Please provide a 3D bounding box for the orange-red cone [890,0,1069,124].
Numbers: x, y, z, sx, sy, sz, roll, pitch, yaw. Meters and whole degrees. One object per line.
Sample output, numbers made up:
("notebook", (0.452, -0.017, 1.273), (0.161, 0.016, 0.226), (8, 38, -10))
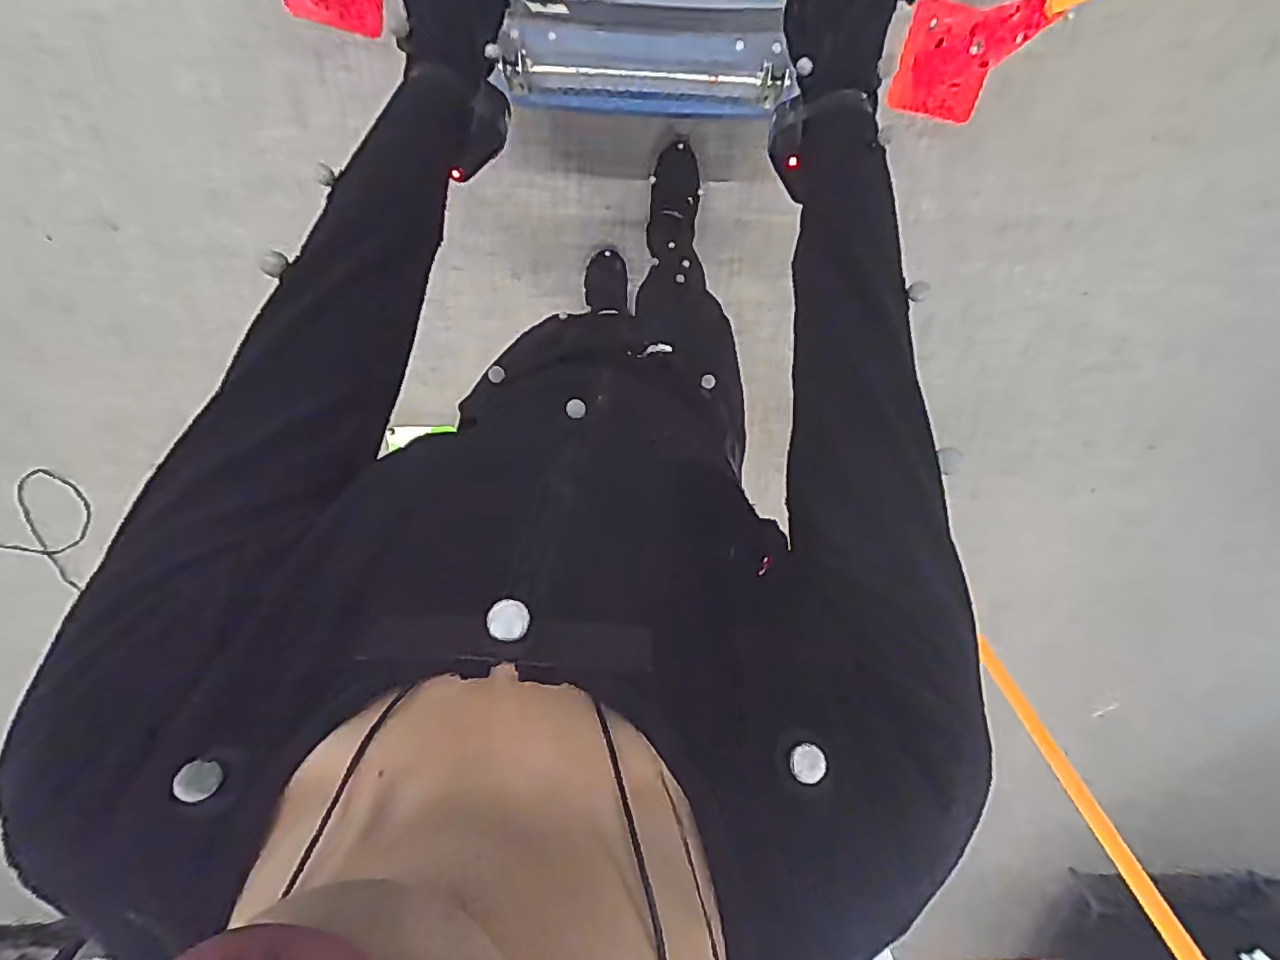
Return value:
("orange-red cone", (0.658, -0.821, 1.005), (0.198, 0.360, 0.199), (11, 116, -5))
